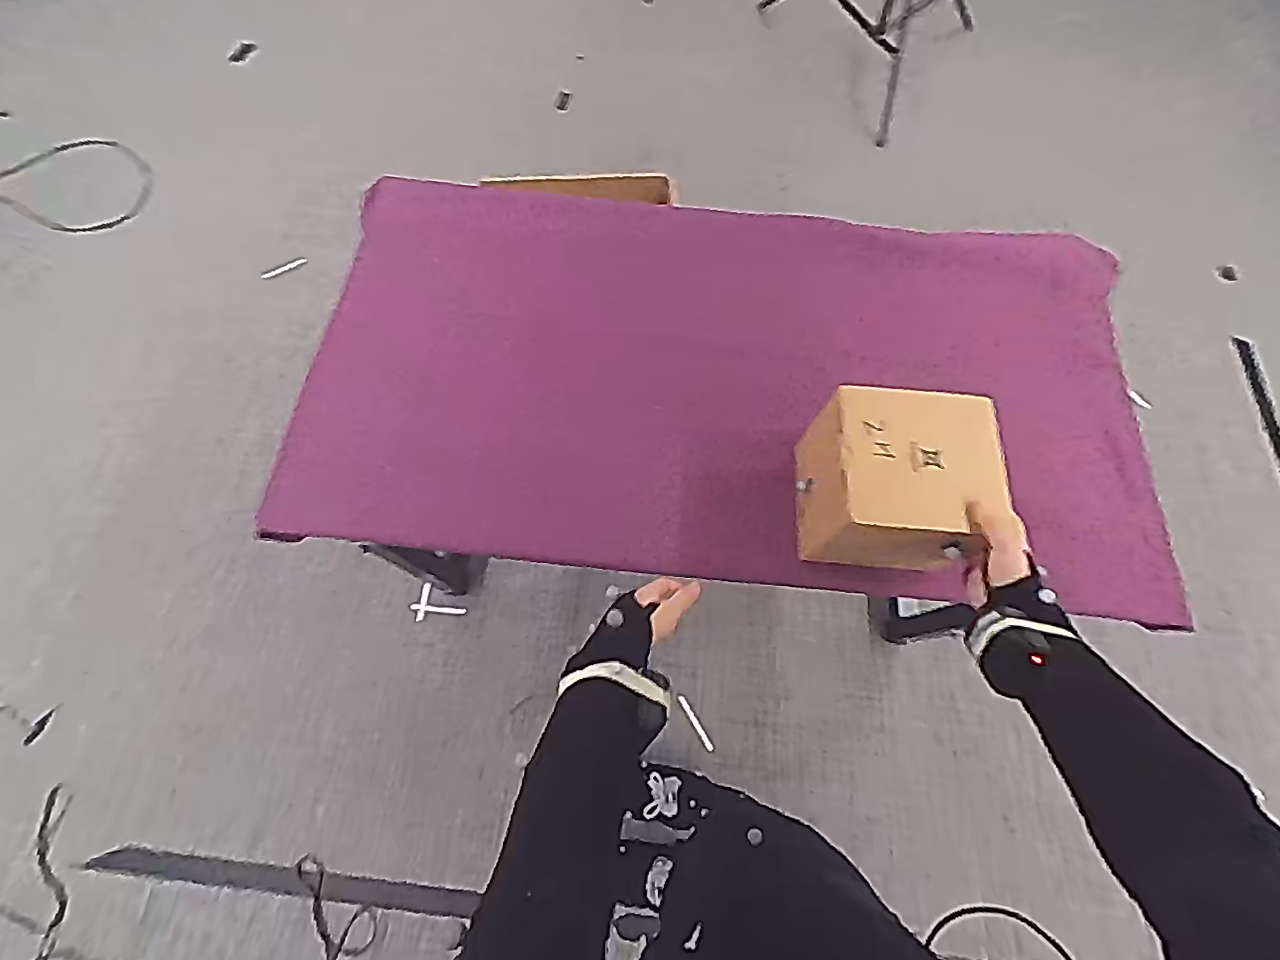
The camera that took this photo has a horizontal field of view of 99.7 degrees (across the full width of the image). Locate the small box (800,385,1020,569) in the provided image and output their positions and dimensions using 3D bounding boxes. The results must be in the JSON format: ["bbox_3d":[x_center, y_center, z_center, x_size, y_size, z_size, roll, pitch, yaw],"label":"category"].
[{"bbox_3d":[0.306,0.006,0.652,0.179,0.176,0.168,5,68,1],"label":"small box"}]
